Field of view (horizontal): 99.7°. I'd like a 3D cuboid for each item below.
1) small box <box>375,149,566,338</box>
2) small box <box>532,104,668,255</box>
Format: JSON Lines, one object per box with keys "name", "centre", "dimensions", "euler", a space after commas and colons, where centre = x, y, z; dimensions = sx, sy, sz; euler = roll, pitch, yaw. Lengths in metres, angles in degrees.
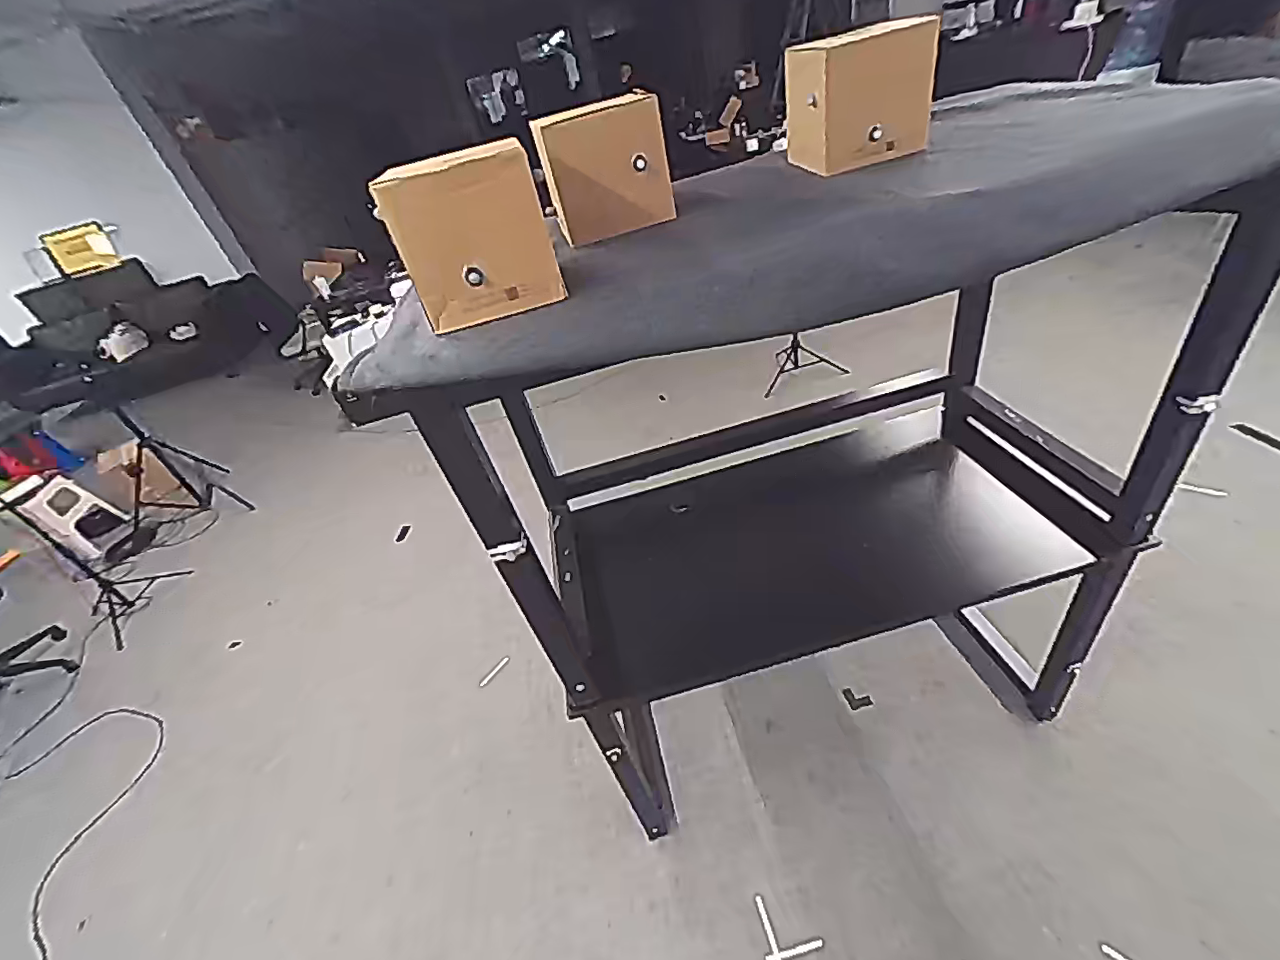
{"name": "small box", "centre": [-0.200, -0.297, 0.678], "dimensions": [0.168, 0.176, 0.179], "euler": [-17, 37, -4]}
{"name": "small box", "centre": [-0.061, -0.484, 0.868], "dimensions": [0.179, 0.176, 0.168], "euler": [-18, 37, -5]}
